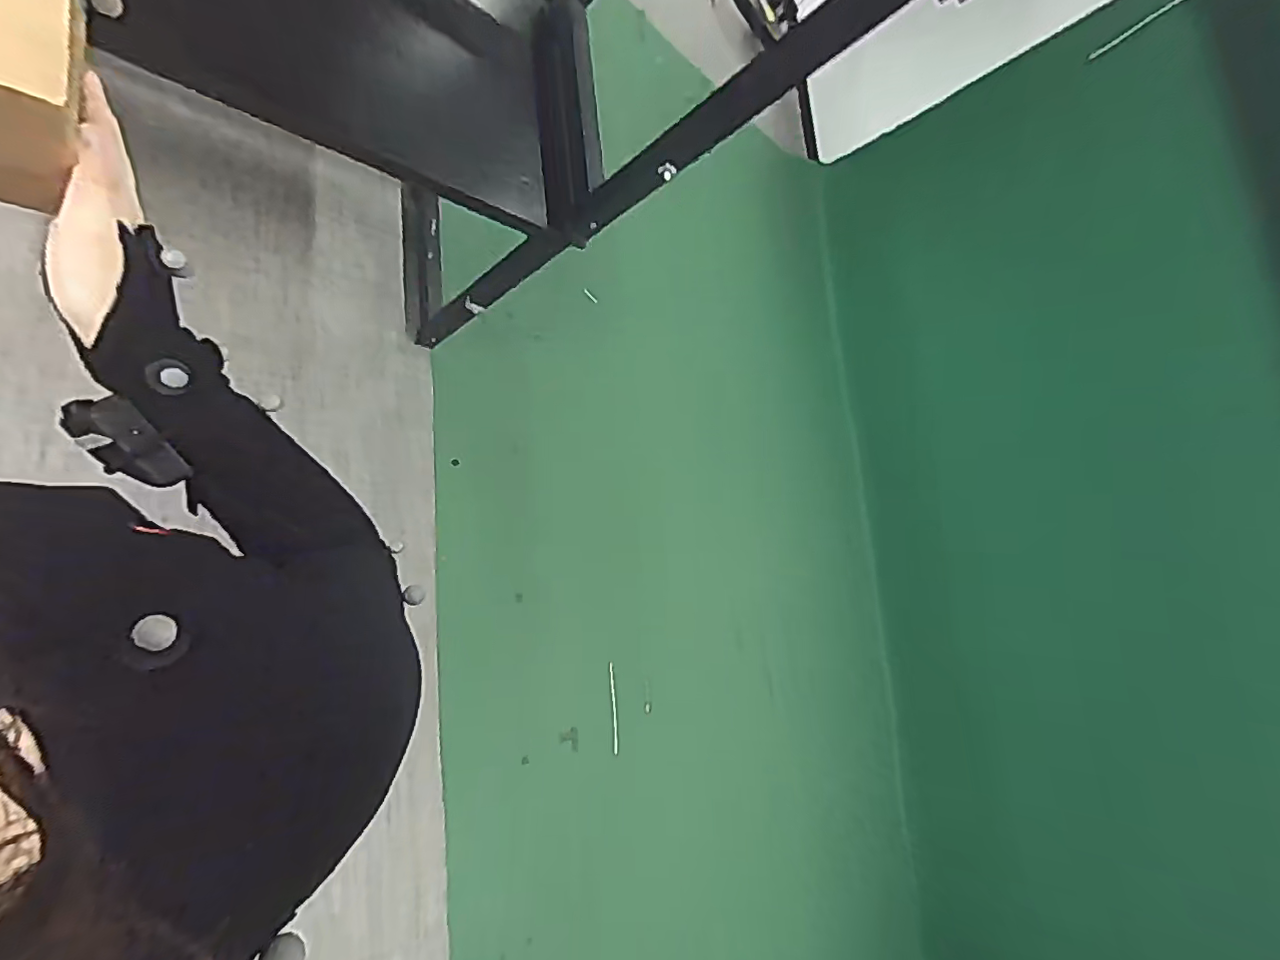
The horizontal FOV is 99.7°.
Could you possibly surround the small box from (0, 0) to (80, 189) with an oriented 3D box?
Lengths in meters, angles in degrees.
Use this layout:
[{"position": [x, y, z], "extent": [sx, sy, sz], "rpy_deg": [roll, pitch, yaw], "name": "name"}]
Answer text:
[{"position": [-0.353, -0.256, 0.224], "extent": [0.168, 0.176, 0.179], "rpy_deg": [2, 92, -46], "name": "small box"}]
